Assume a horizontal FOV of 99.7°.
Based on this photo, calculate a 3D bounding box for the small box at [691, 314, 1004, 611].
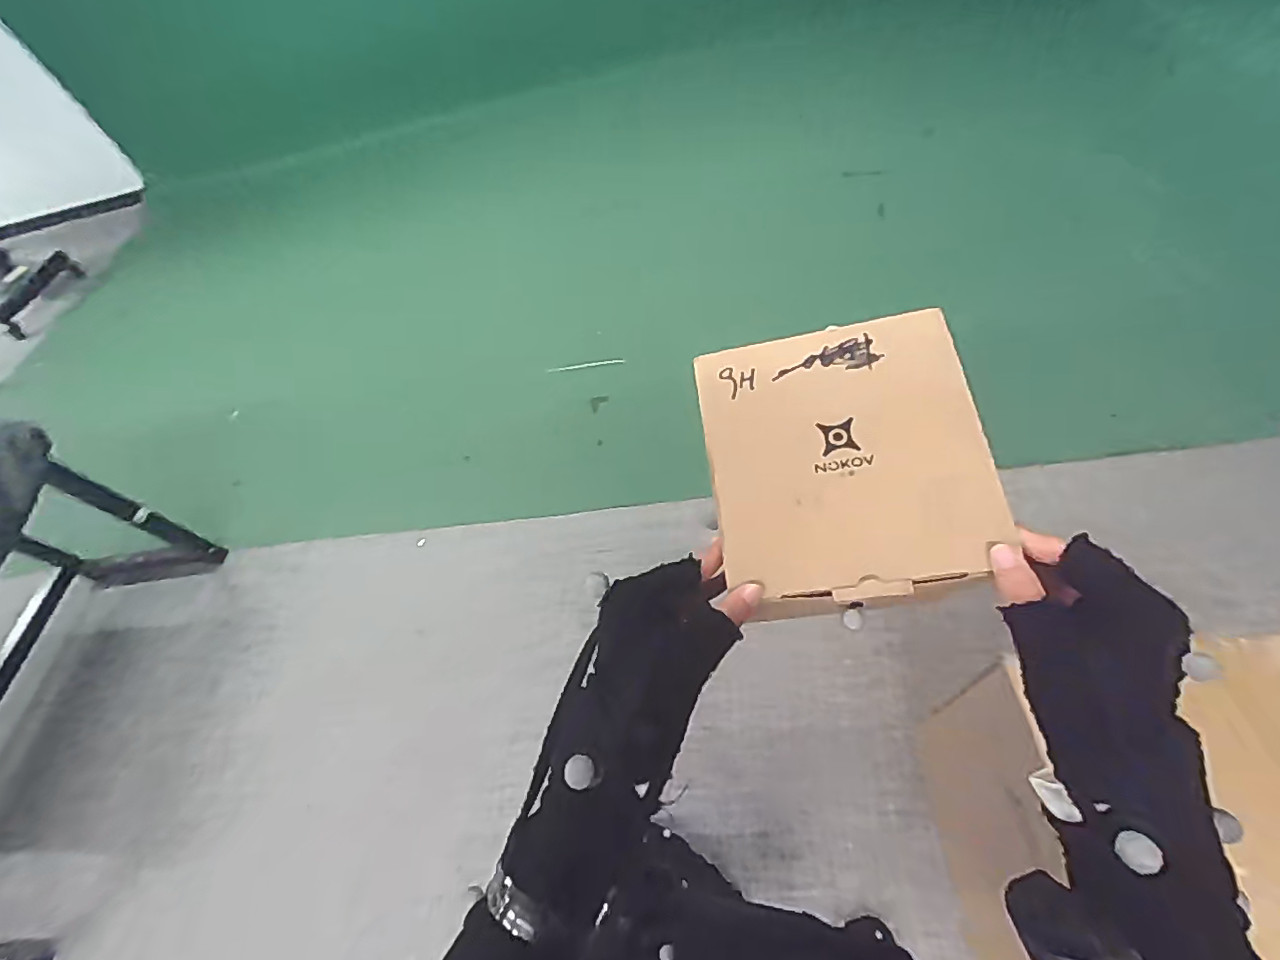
[{"bbox_3d":[0.141,0.005,0.424,0.168,0.176,0.179,-10,71,10],"label":"small box"}]
